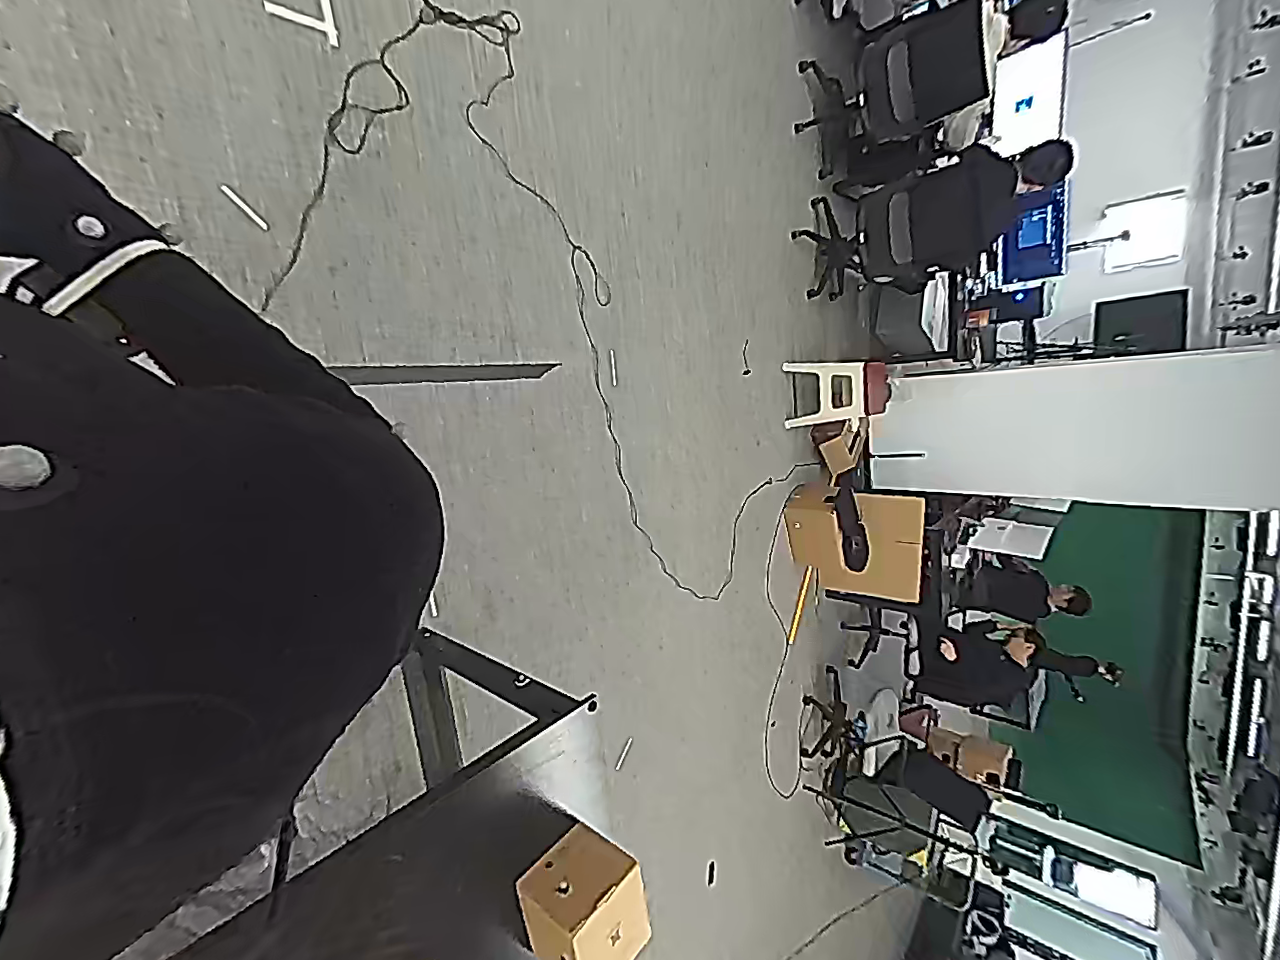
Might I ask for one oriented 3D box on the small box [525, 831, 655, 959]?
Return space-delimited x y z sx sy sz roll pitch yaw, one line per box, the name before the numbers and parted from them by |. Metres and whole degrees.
small box | -0.097 0.806 1.019 0.168 0.176 0.179 -22 109 -44
